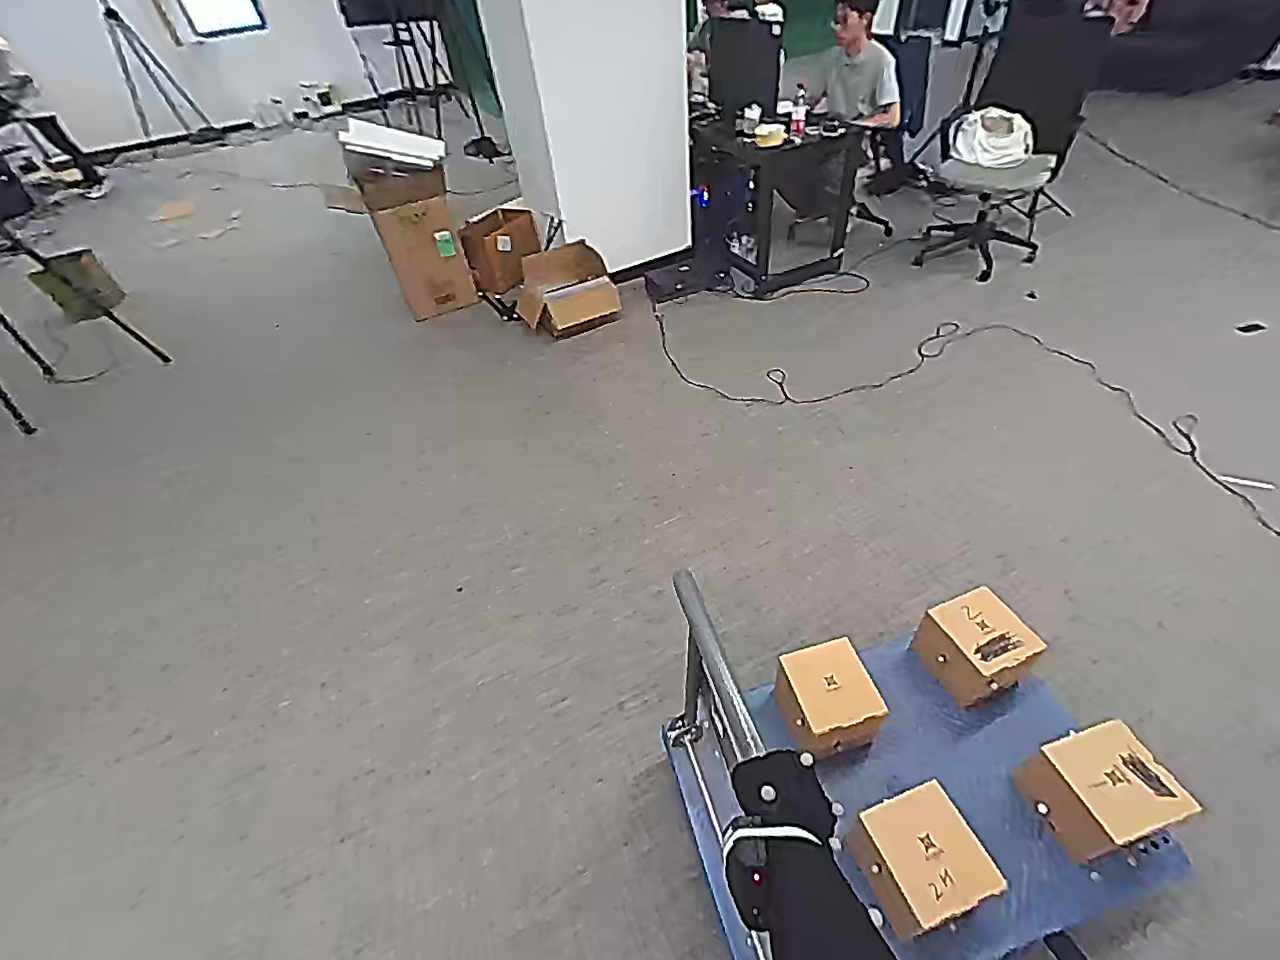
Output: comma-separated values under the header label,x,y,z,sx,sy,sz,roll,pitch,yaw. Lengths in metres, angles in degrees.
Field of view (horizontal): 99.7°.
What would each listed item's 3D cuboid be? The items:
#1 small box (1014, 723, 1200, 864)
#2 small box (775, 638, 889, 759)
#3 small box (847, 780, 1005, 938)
label,x,y,z,sx,sy,sz,roll,pitch,yaw
small box,0.863,0.594,1.024,0.179,0.176,0.168,-16,45,-6
small box,0.412,0.484,1.196,0.168,0.176,0.179,-13,46,-6
small box,0.501,0.688,0.981,0.168,0.176,0.179,-17,45,-9
